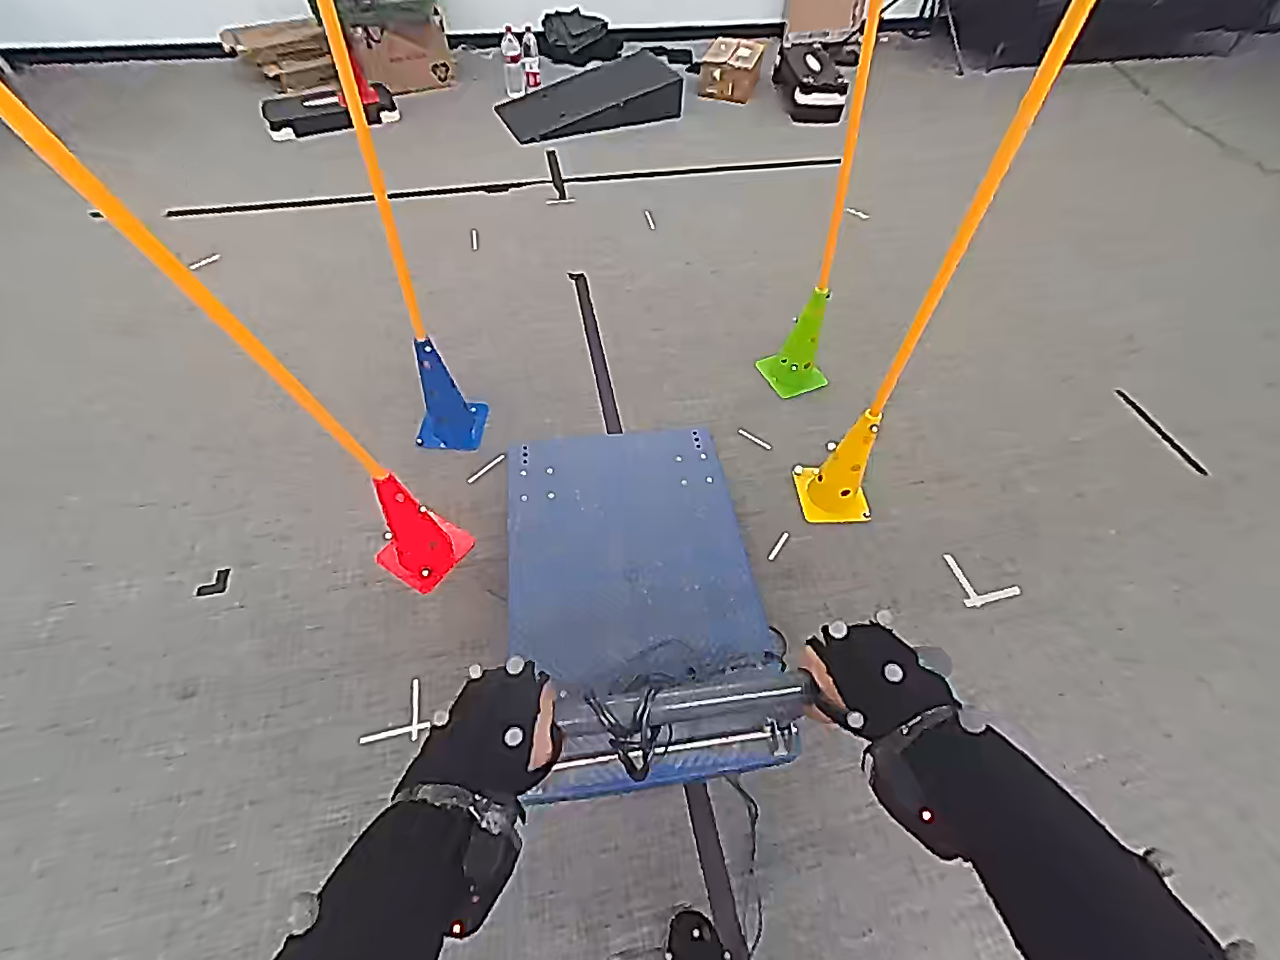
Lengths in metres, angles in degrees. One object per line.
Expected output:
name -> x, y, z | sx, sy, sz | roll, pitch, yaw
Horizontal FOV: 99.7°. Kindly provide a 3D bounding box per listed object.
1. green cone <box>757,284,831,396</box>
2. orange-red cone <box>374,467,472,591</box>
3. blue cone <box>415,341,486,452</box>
green cone -> 0.551, -0.487, 1.797 | 0.200, 0.368, 0.202 | -21, 59, -16
orange-red cone -> -0.580, 0.087, 1.340 | 0.198, 0.360, 0.199 | 29, 57, 17
blue cone -> -0.595, -0.264, 1.610 | 0.193, 0.380, 0.192 | 4, 55, 0
